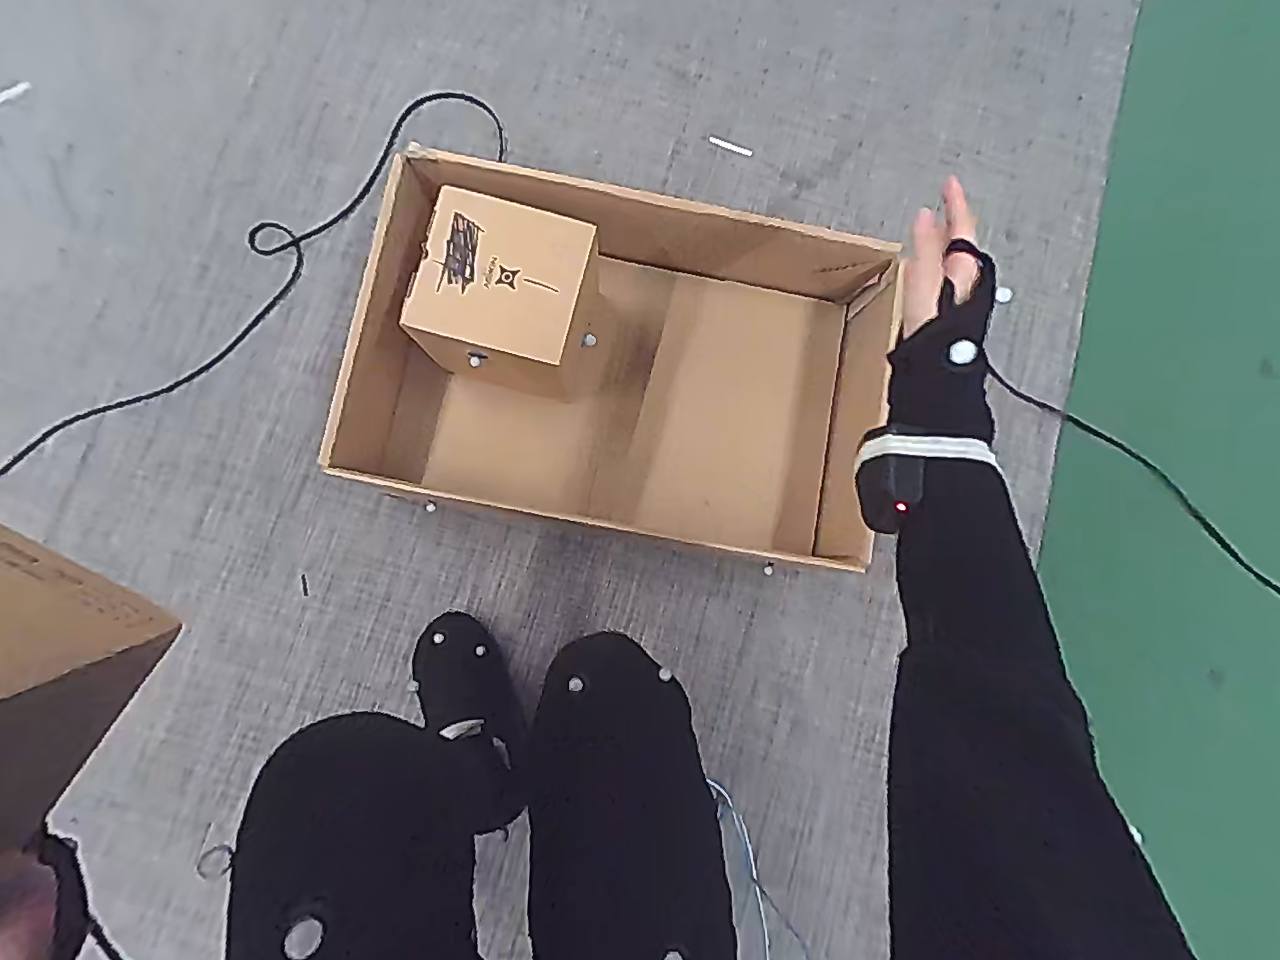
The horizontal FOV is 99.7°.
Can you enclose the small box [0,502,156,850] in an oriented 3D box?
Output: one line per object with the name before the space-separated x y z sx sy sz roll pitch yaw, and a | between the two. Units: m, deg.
small box | -0.313 0.086 0.157 0.168 0.176 0.179 35 83 -10
